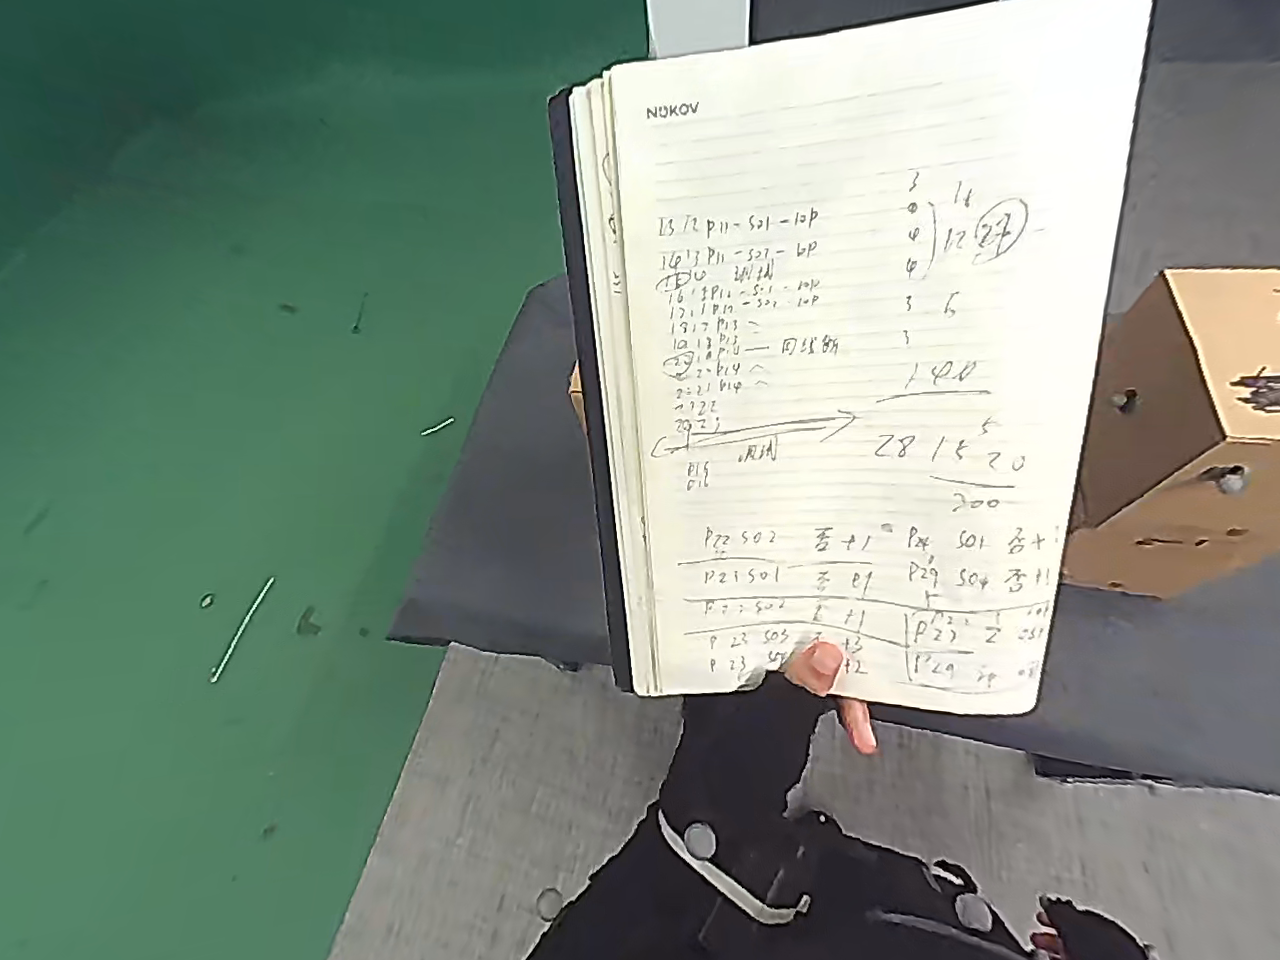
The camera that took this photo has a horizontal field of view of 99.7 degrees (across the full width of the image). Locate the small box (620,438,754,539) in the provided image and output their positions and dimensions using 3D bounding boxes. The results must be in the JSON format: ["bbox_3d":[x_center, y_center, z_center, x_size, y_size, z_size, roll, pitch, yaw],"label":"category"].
[{"bbox_3d":[0.068,-0.038,0.731,0.168,0.176,0.179,3,62,11],"label":"small box"}]

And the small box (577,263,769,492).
[{"bbox_3d":[0.044,-0.107,0.586,0.168,0.176,0.179,5,62,11],"label":"small box"}]

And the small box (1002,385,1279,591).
[{"bbox_3d":[0.550,0.015,0.625,0.168,0.176,0.179,7,62,13],"label":"small box"}]
